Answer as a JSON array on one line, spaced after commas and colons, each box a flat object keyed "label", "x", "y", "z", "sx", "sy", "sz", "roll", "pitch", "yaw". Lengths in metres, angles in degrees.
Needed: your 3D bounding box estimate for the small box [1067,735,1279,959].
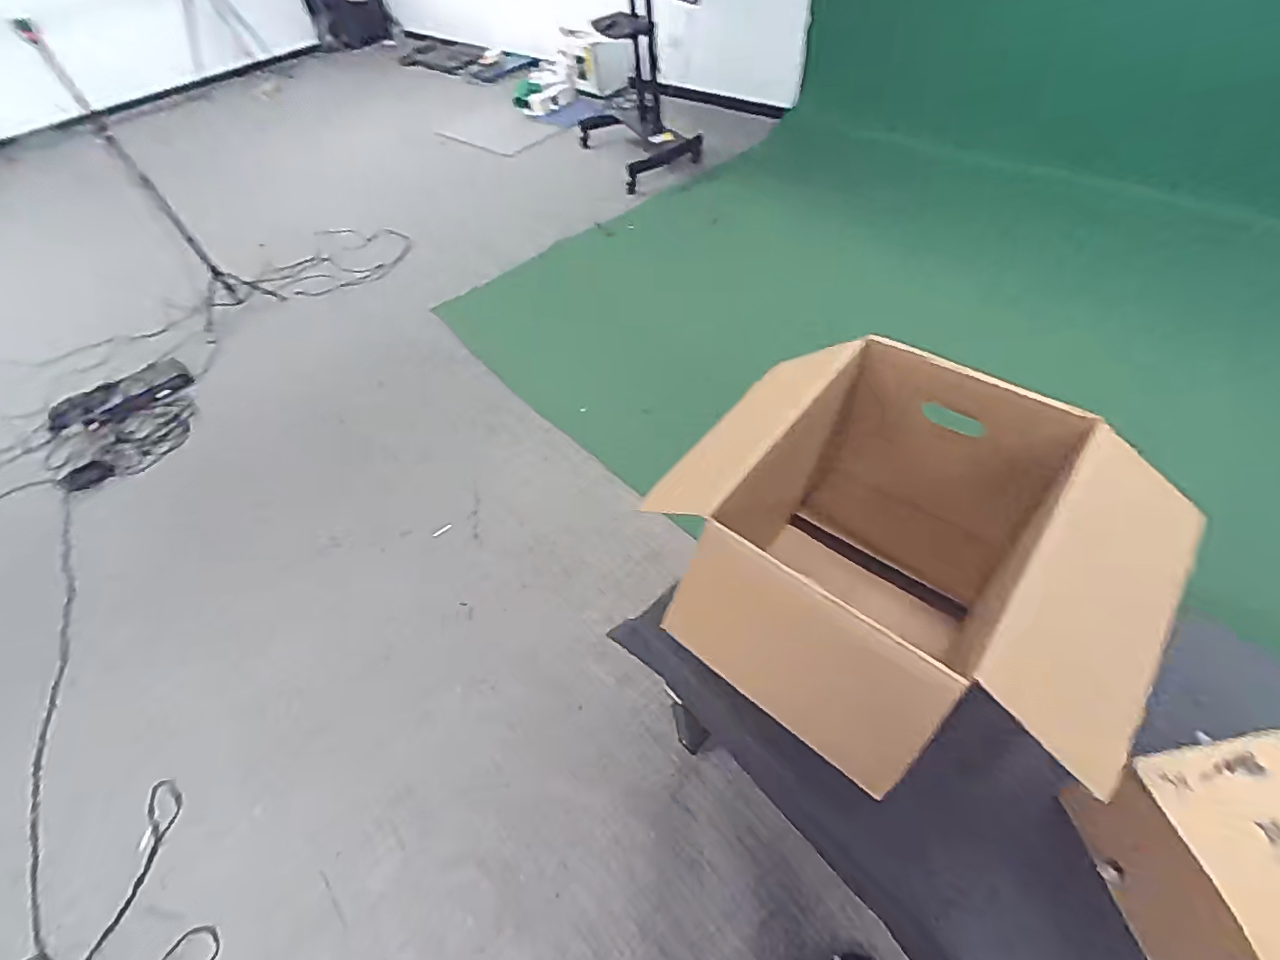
[{"label": "small box", "x": 0.608, "y": 0.387, "z": 0.563, "sx": 0.168, "sy": 0.176, "sz": 0.179, "roll": -10, "pitch": 51, "yaw": 2}]
